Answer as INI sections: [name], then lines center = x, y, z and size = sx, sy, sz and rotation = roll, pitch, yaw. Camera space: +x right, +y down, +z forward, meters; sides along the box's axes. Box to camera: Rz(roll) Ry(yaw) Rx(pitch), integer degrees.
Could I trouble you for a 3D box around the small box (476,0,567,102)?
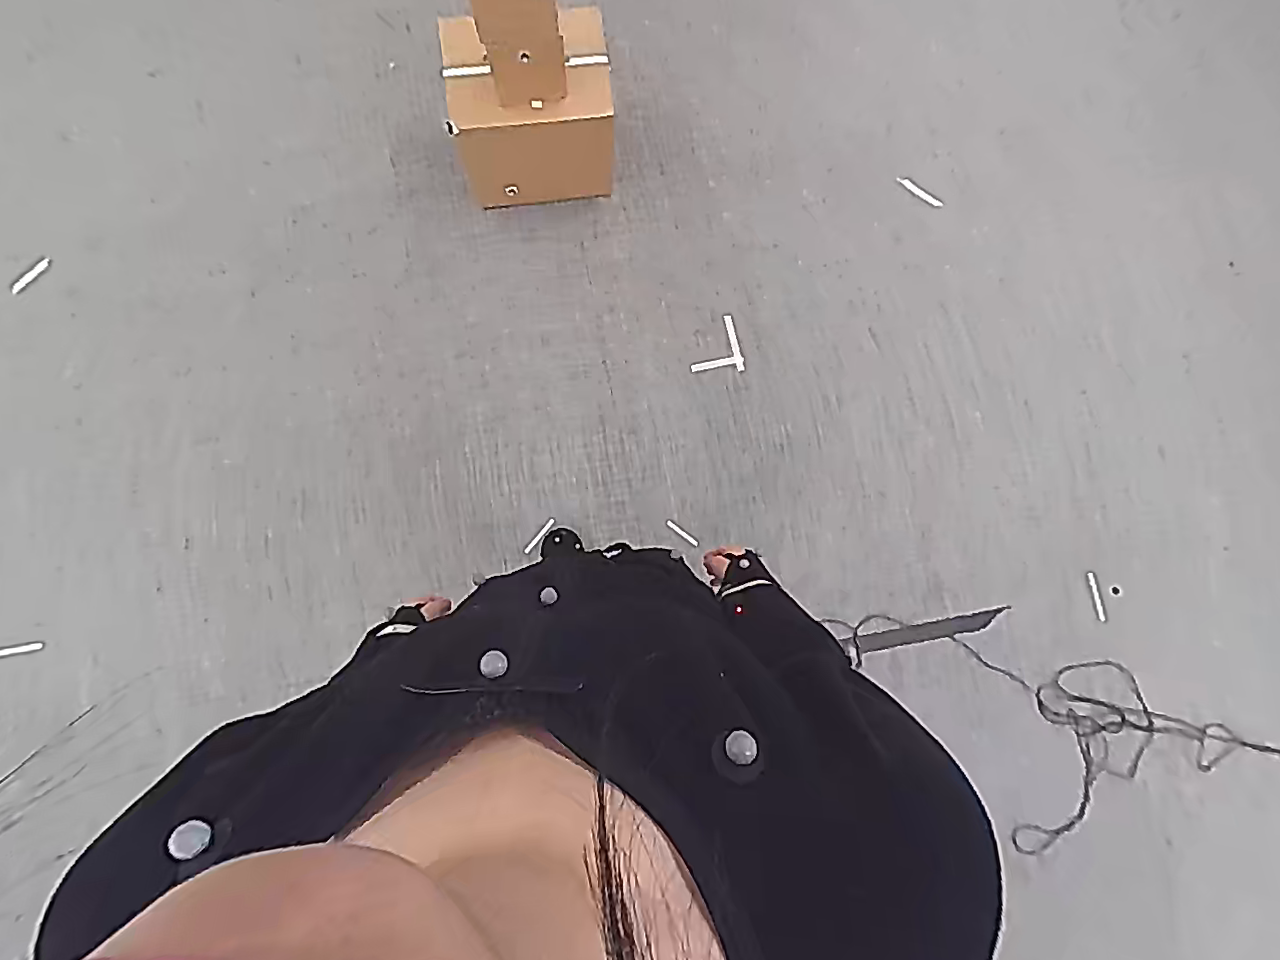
[small box]
center = -0.272, -1.020, 1.259
size = 0.179, 0.176, 0.168
rotation = -11, 85, -6
